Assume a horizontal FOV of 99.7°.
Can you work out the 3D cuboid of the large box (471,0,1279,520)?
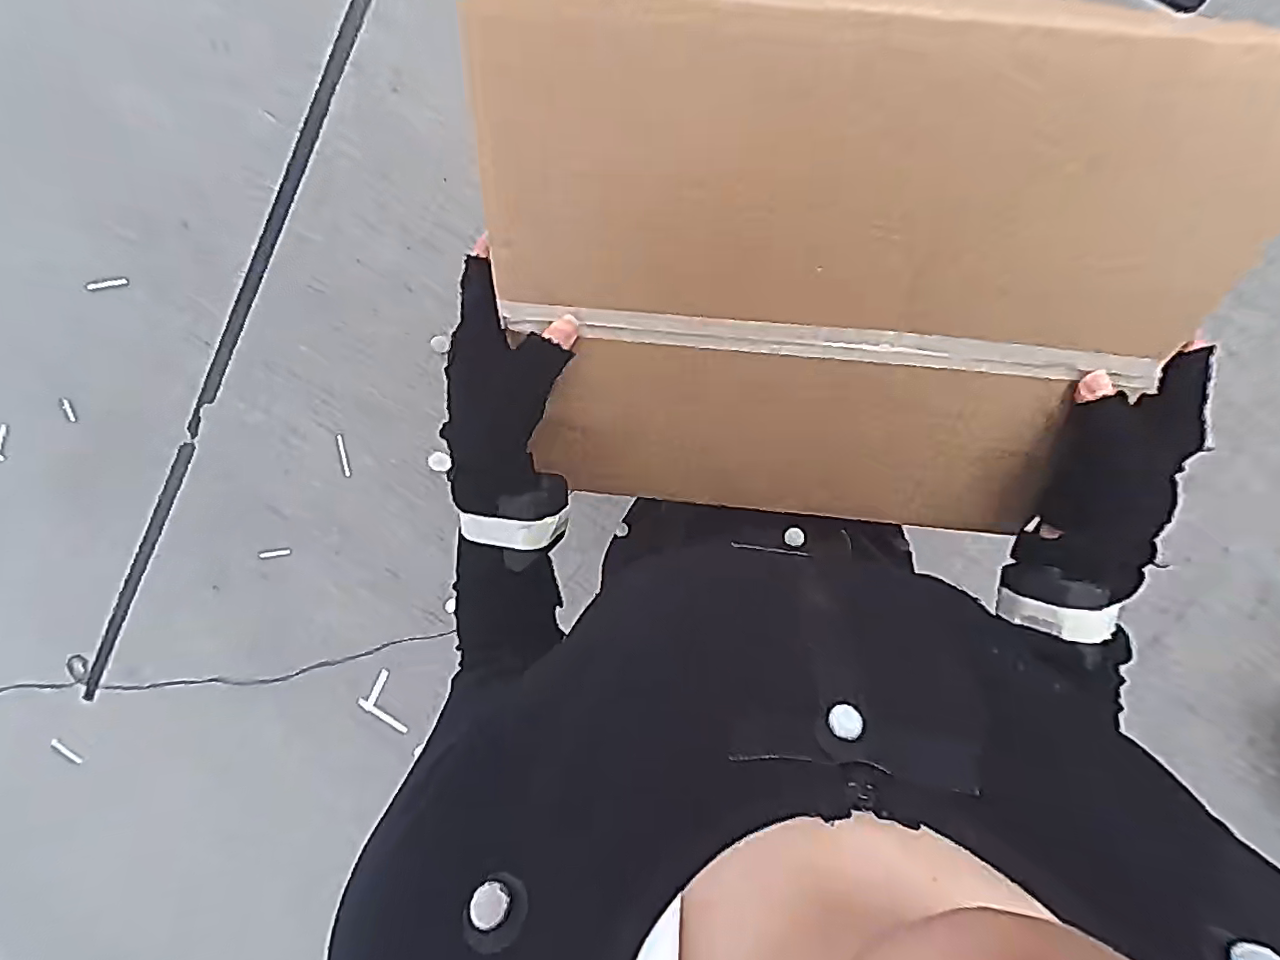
[{"bbox_3d":[0.121,-0.196,0.450,0.408,0.320,0.320,6,136,1],"label":"large box"}]
